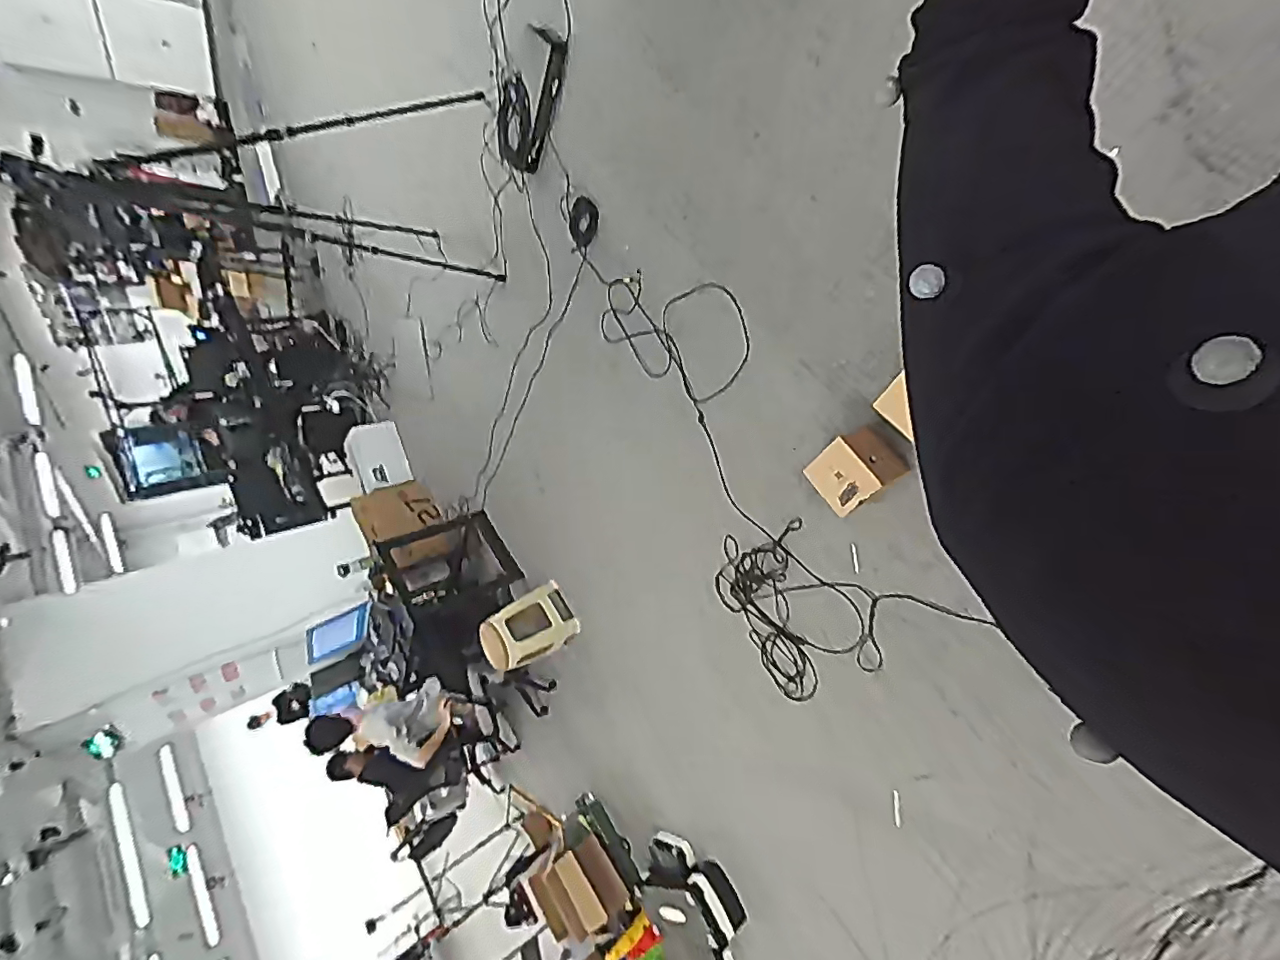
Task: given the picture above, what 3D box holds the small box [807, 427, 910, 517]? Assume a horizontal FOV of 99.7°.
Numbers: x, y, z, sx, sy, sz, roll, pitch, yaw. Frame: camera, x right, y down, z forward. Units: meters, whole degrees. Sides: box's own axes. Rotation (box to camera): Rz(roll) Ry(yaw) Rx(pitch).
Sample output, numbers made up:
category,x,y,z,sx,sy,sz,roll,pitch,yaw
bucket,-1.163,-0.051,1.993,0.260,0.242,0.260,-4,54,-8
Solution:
category,x,y,z,sx,sy,sz,roll,pitch,yaw
small box,0.618,-0.029,1.526,0.179,0.176,0.168,55,138,20
